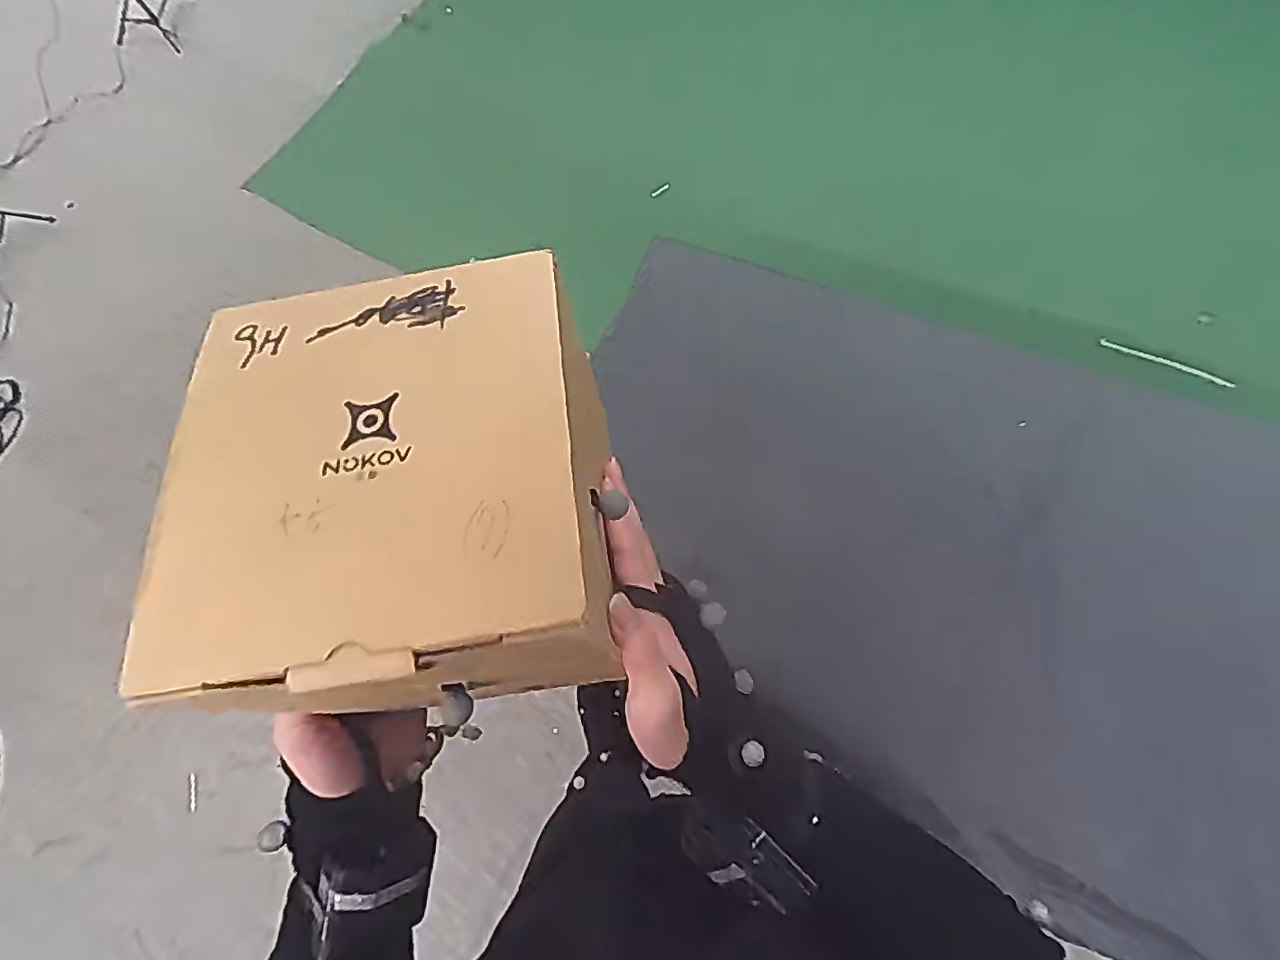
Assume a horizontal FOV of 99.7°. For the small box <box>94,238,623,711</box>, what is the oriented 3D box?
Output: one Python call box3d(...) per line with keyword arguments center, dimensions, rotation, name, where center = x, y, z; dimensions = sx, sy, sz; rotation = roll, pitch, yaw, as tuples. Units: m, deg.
box3d(center=(-0.104, 0.014, 0.281), dimensions=(0.168, 0.176, 0.179), rotation=(-8, 67, 0), name="small box")
